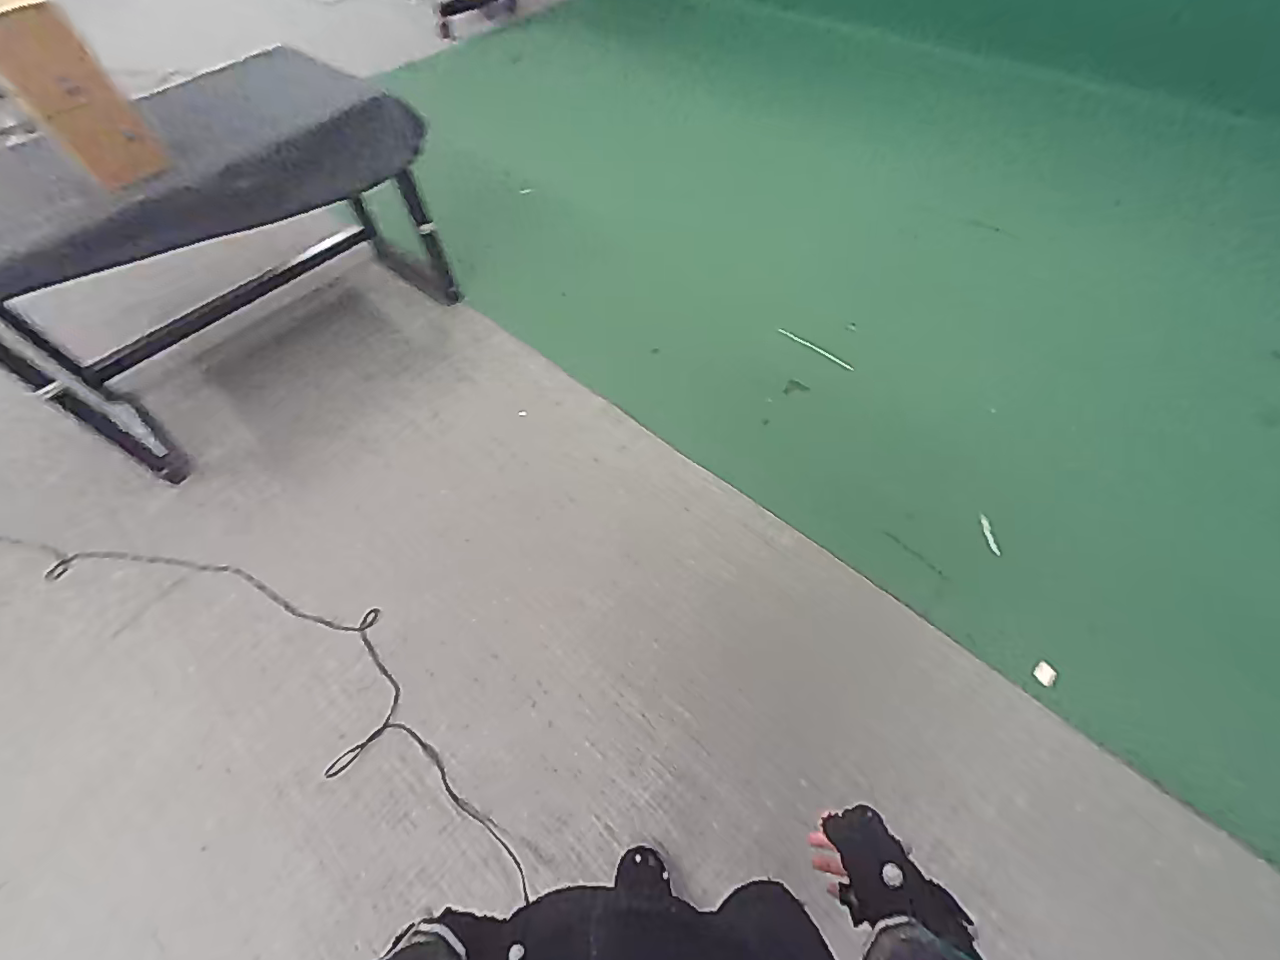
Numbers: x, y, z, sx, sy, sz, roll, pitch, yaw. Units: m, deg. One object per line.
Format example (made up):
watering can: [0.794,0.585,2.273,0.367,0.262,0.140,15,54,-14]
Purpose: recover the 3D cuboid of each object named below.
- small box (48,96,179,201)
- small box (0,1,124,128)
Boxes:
small box: [-1.290,-0.823,1.328,0.168,0.176,0.179,34,66,25]
small box: [-1.305,-0.917,1.195,0.168,0.176,0.179,34,64,25]
